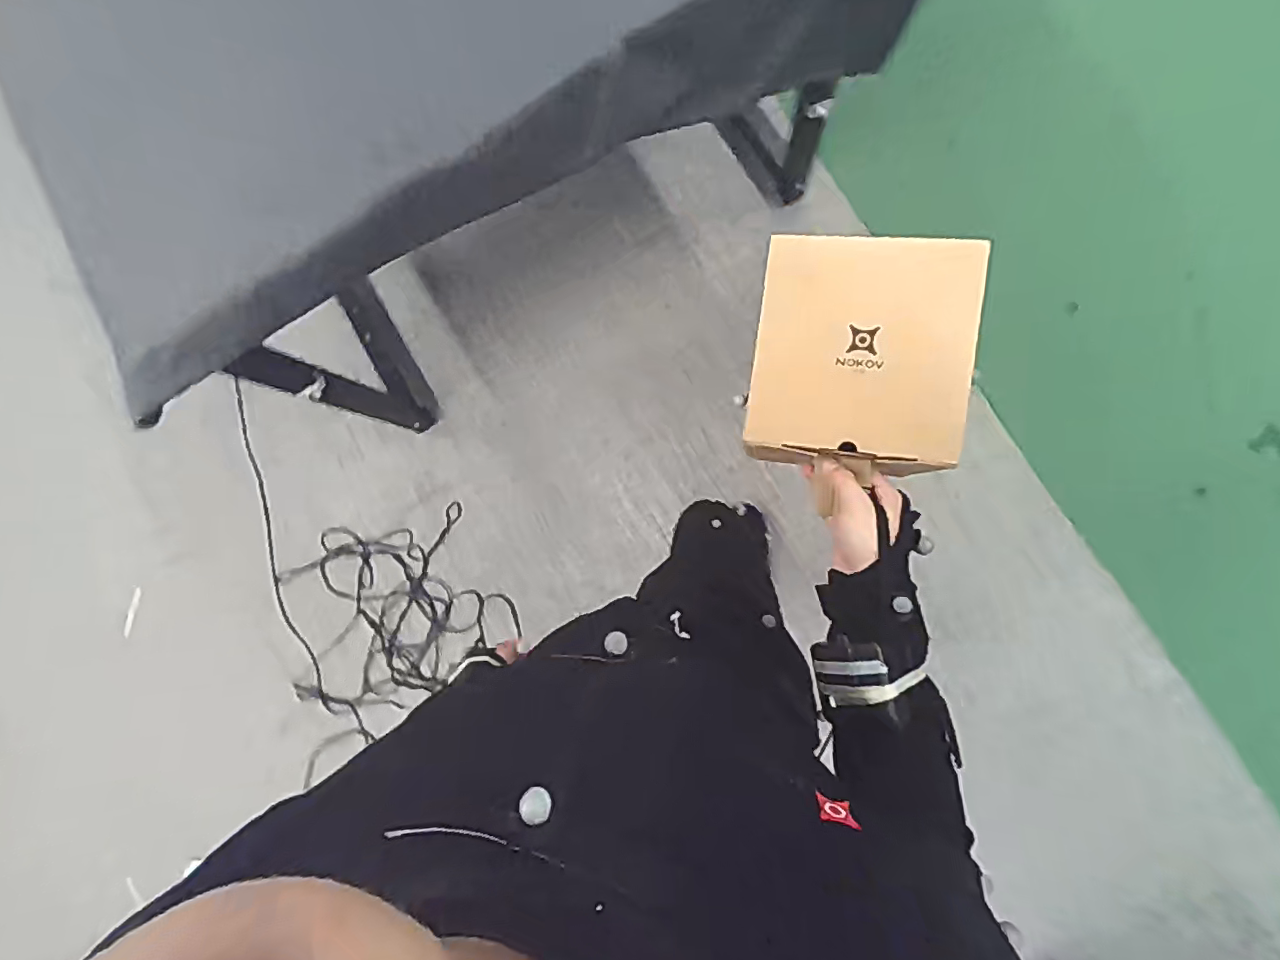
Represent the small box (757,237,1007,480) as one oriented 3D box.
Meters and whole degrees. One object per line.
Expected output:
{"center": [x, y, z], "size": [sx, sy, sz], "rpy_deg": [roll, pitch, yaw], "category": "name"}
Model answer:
{"center": [0.203, -0.098, 0.503], "size": [0.168, 0.176, 0.179], "rpy_deg": [9, 91, 12], "category": "small box"}
